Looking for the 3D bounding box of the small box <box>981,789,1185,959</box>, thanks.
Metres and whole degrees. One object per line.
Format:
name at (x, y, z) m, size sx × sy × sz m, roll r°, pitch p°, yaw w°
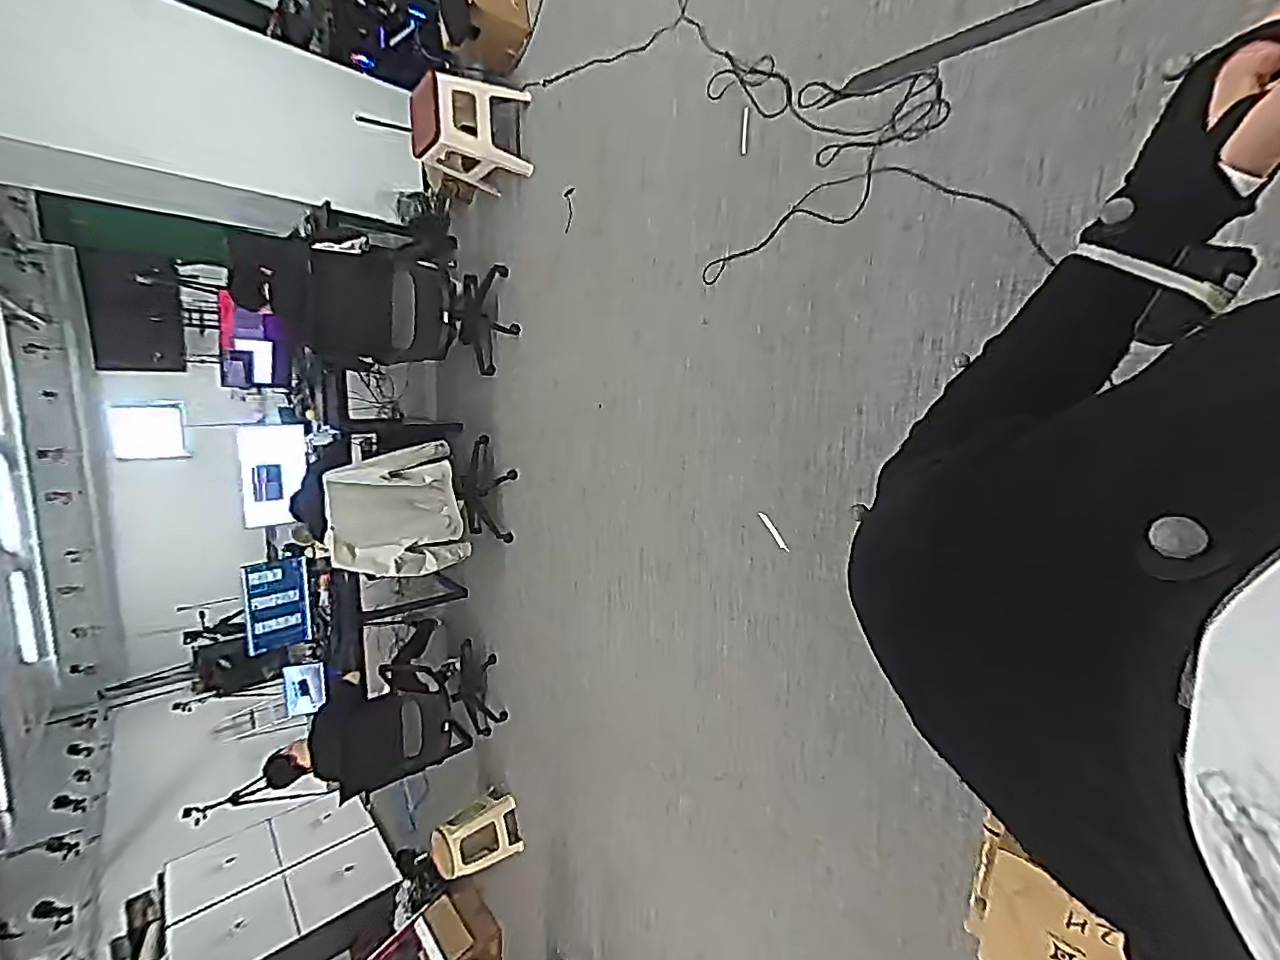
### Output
small box at (0.563, 0.546, 0.689) m, size 0.168 × 0.176 × 0.179 m, roll 12°, pitch 103°, yaw 46°
